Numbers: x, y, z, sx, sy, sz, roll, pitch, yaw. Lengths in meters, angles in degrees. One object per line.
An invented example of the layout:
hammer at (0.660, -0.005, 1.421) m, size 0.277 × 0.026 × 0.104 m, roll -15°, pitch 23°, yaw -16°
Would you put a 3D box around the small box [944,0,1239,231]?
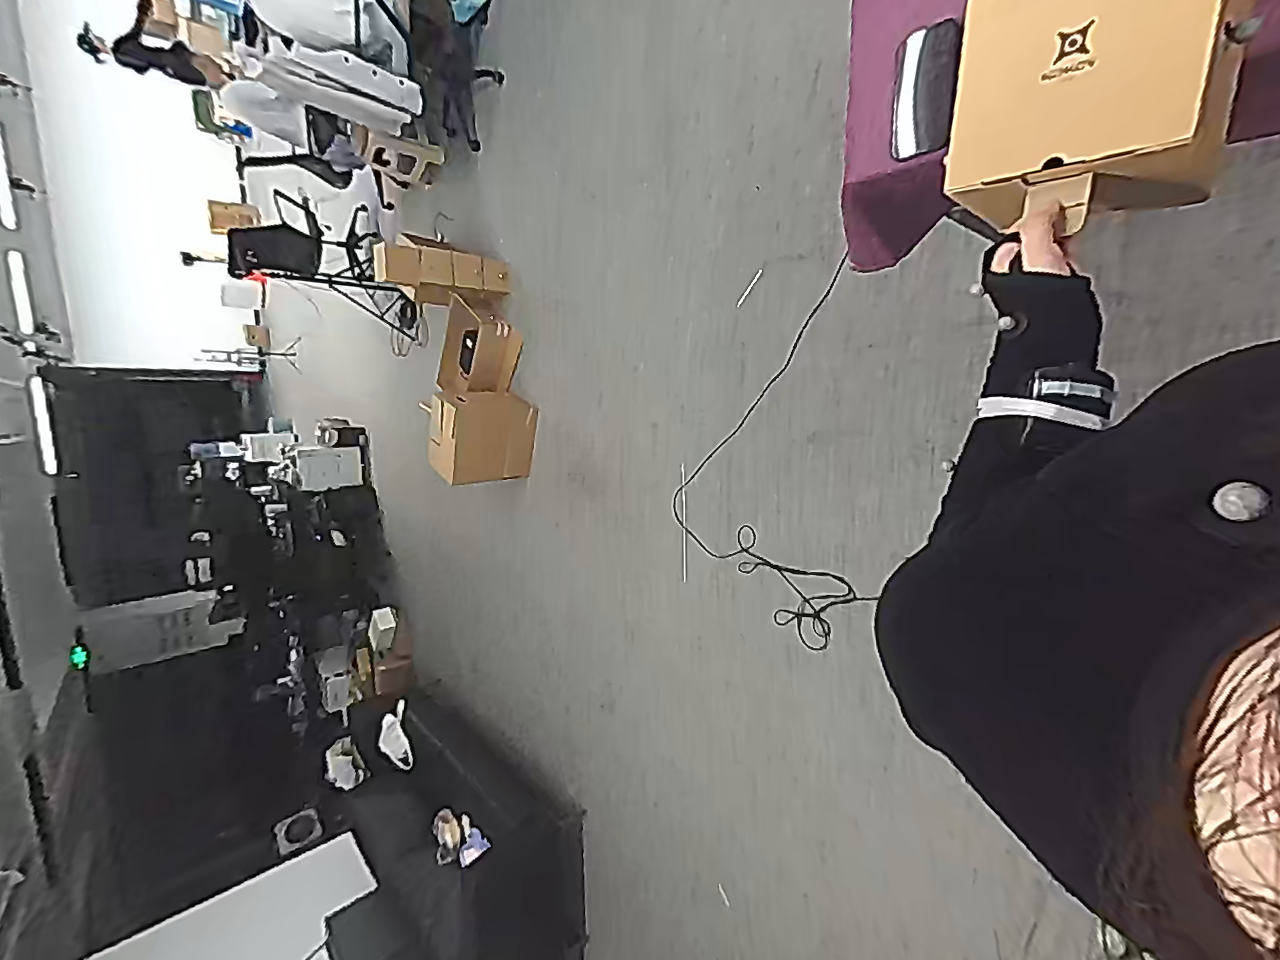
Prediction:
small box at (0.402, -0.345, 0.486) m, size 0.168 × 0.176 × 0.179 m, roll 14°, pitch 106°, yaw 47°
